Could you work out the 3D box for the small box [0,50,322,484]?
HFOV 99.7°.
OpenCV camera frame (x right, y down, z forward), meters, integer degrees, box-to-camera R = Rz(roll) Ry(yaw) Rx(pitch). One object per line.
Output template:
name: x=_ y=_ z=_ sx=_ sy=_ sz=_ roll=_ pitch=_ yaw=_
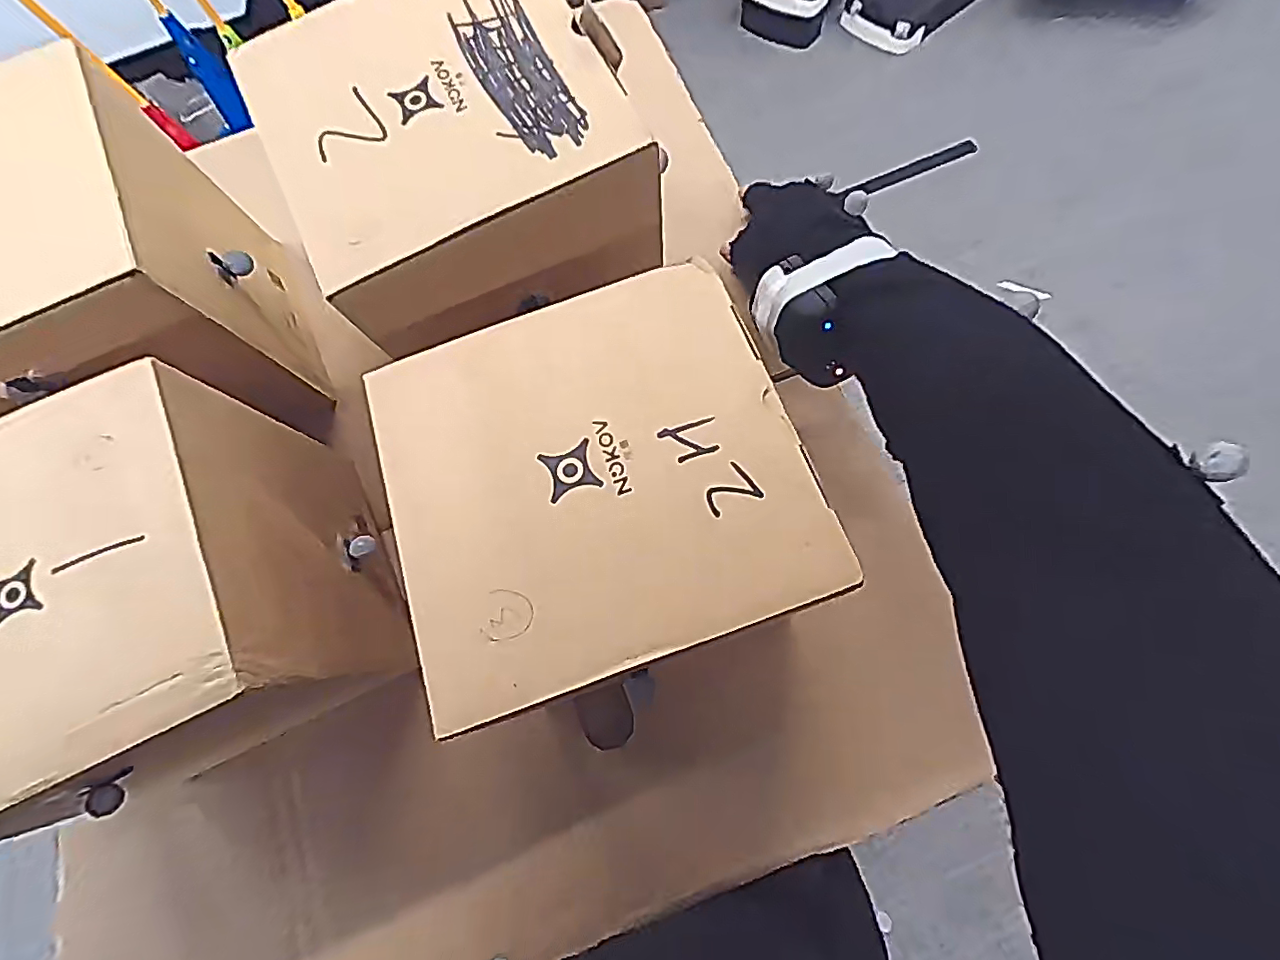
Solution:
small box: x=-0.349 y=-0.118 z=0.360 sx=0.179 sy=0.176 sz=0.168 roll=-26 pitch=76 yaw=-3
